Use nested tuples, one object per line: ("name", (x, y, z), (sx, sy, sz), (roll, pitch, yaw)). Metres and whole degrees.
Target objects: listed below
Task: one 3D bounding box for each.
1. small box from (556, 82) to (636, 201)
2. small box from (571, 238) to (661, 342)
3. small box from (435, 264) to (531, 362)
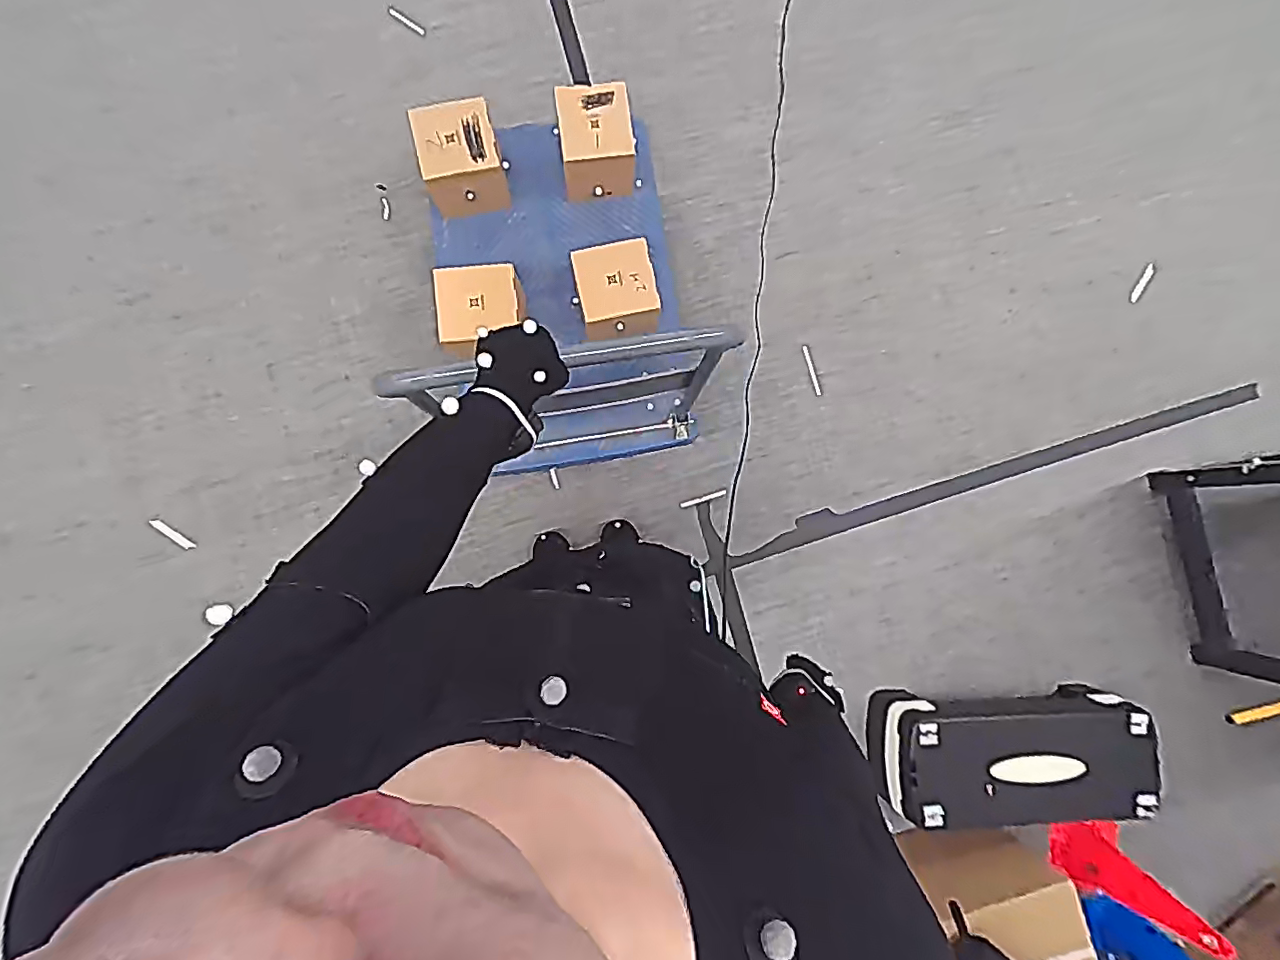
("small box", (-0.105, -0.806, 1.297), (0.168, 0.176, 0.179), (-8, 88, -4))
("small box", (-0.055, -0.440, 1.280), (0.179, 0.176, 0.168), (-13, 88, -4))
("small box", (-0.359, -0.382, 1.260), (0.179, 0.176, 0.168), (-7, 87, -5))
